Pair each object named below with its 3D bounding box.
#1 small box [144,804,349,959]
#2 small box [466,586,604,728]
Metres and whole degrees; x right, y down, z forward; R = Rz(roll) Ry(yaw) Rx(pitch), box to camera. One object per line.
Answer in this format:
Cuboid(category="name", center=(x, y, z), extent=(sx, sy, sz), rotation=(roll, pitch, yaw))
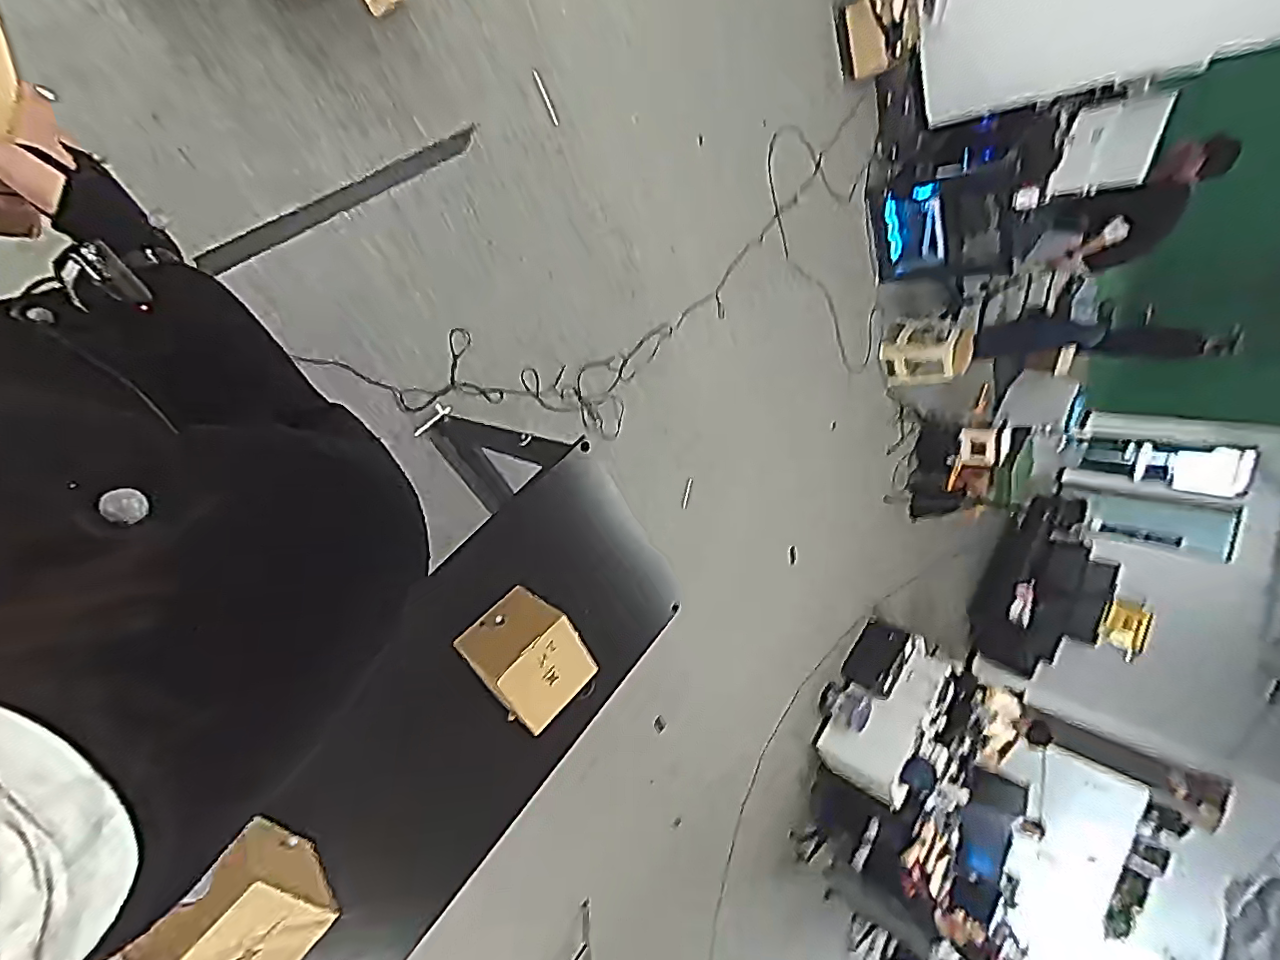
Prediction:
Cuboid(category="small box", center=(-0.576, 0.630, 0.793), extent=(0.179, 0.176, 0.168), rotation=(-46, 129, -26))
Cuboid(category="small box", center=(-0.206, 0.337, 1.063), extent=(0.168, 0.176, 0.179), rotation=(-42, 127, -28))
